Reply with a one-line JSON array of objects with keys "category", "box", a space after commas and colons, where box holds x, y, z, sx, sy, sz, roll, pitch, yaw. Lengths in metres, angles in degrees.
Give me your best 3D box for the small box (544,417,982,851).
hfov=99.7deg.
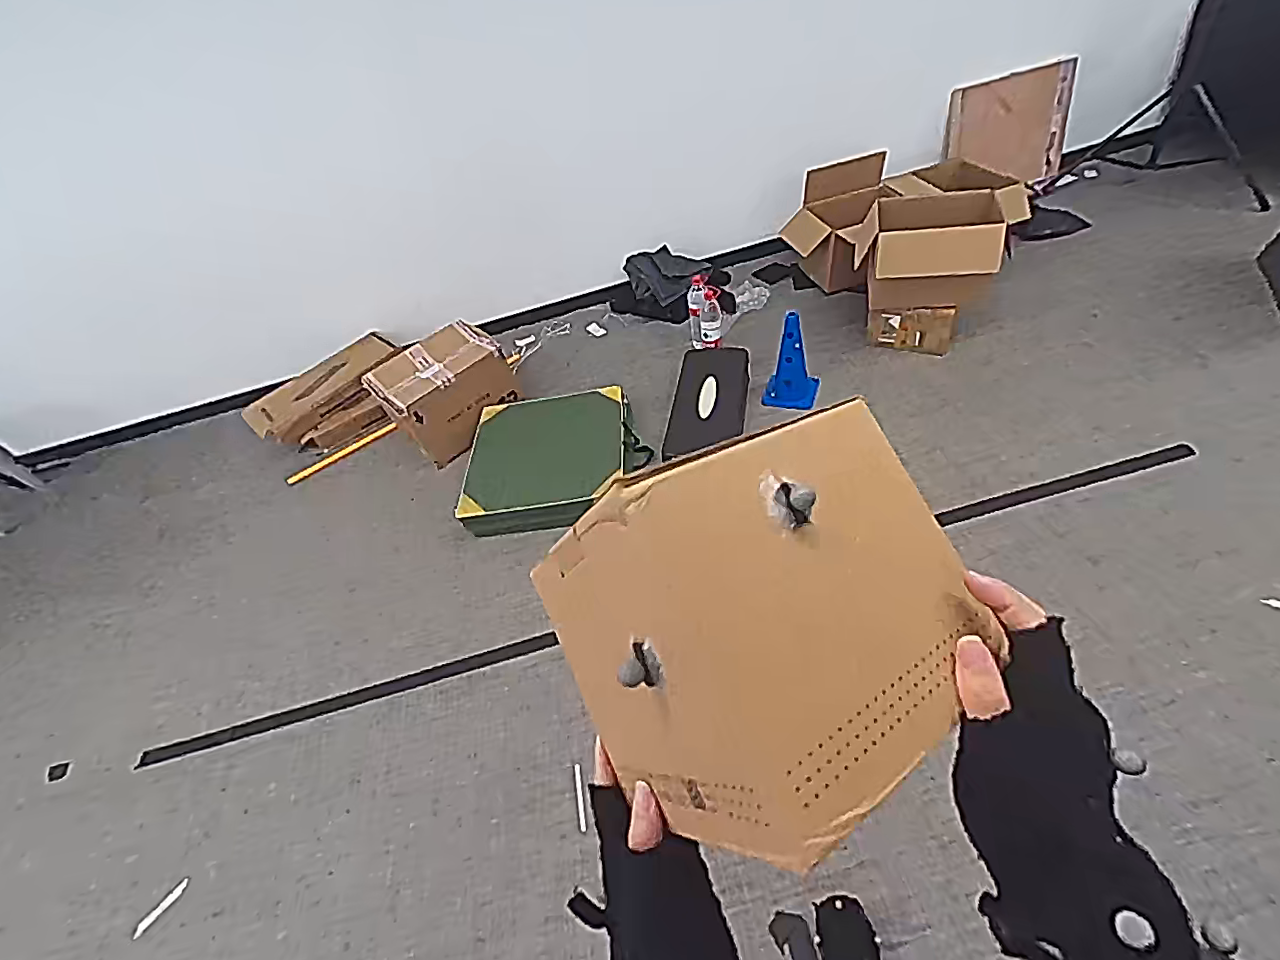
[{"category": "small box", "box": [0.066, 0.089, 0.339, 0.179, 0.168, 0.176, -20, 77, -29]}]
